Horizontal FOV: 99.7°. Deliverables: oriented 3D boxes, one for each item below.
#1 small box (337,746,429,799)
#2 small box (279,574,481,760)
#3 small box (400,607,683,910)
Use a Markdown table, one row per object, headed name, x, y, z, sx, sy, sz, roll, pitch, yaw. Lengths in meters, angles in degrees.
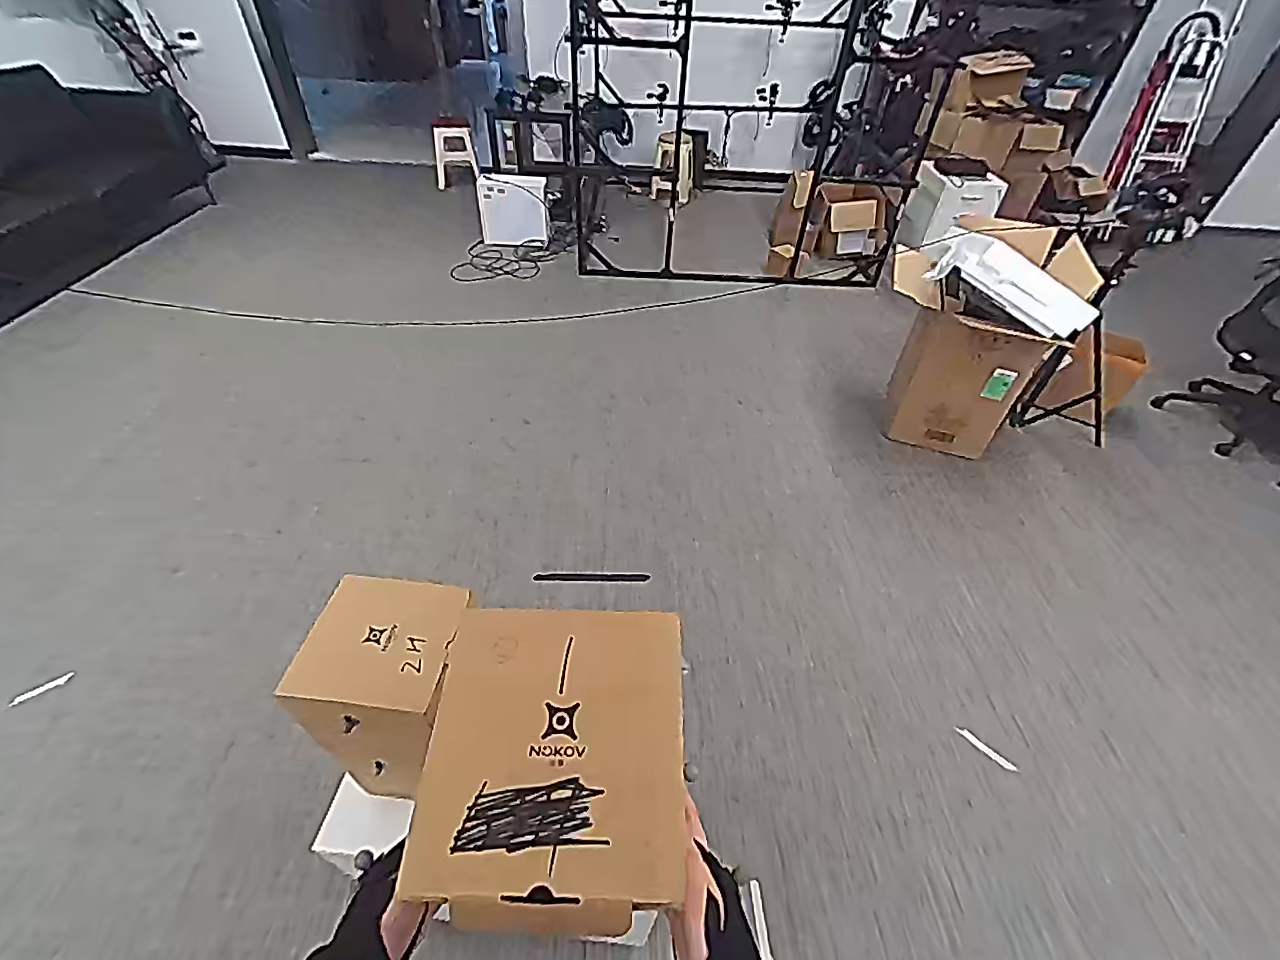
| name | x | y | z | sx | sy | sz | roll | pitch | yaw |
| --- | --- | --- | --- | --- | --- | --- | --- | --- | --- |
| small box | -0.318 | 0.363 | 0.822 | 0.168 | 0.176 | 0.179 | 6 | 43 | 3 |
| small box | -0.310 | 0.246 | 0.705 | 0.179 | 0.176 | 0.168 | 6 | 45 | 2 |
| small box | -0.052 | 0.215 | 0.417 | 0.168 | 0.176 | 0.179 | 1 | 52 | 1 |
